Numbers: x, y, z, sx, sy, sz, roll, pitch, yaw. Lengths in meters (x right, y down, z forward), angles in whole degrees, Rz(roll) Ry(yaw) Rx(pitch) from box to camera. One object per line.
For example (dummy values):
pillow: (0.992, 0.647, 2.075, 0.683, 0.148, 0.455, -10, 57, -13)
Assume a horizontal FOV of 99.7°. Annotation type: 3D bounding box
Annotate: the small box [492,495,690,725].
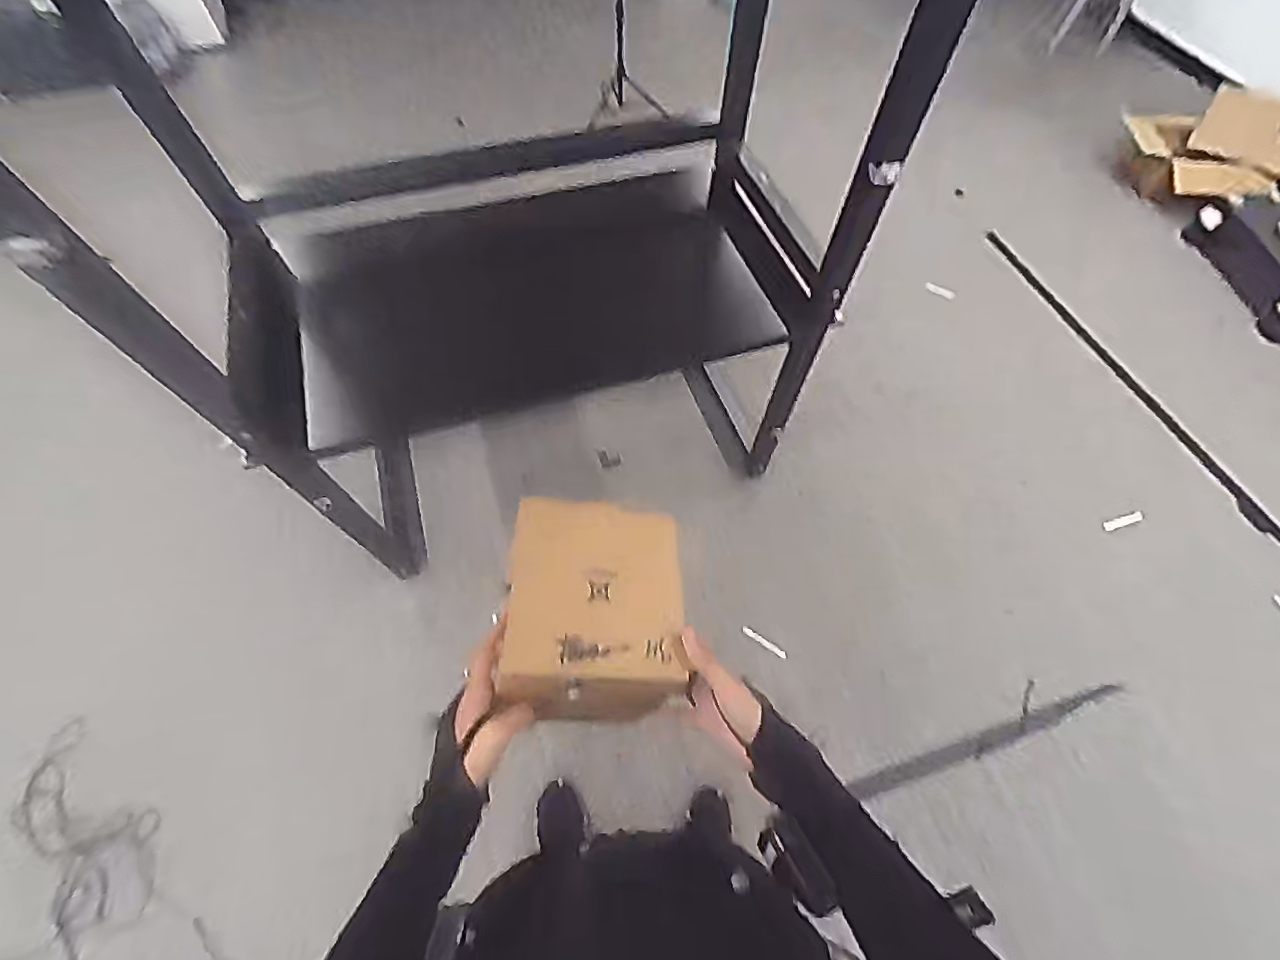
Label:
small box: (-0.058, 0.142, 0.570, 0.168, 0.176, 0.179, 9, 52, -14)
